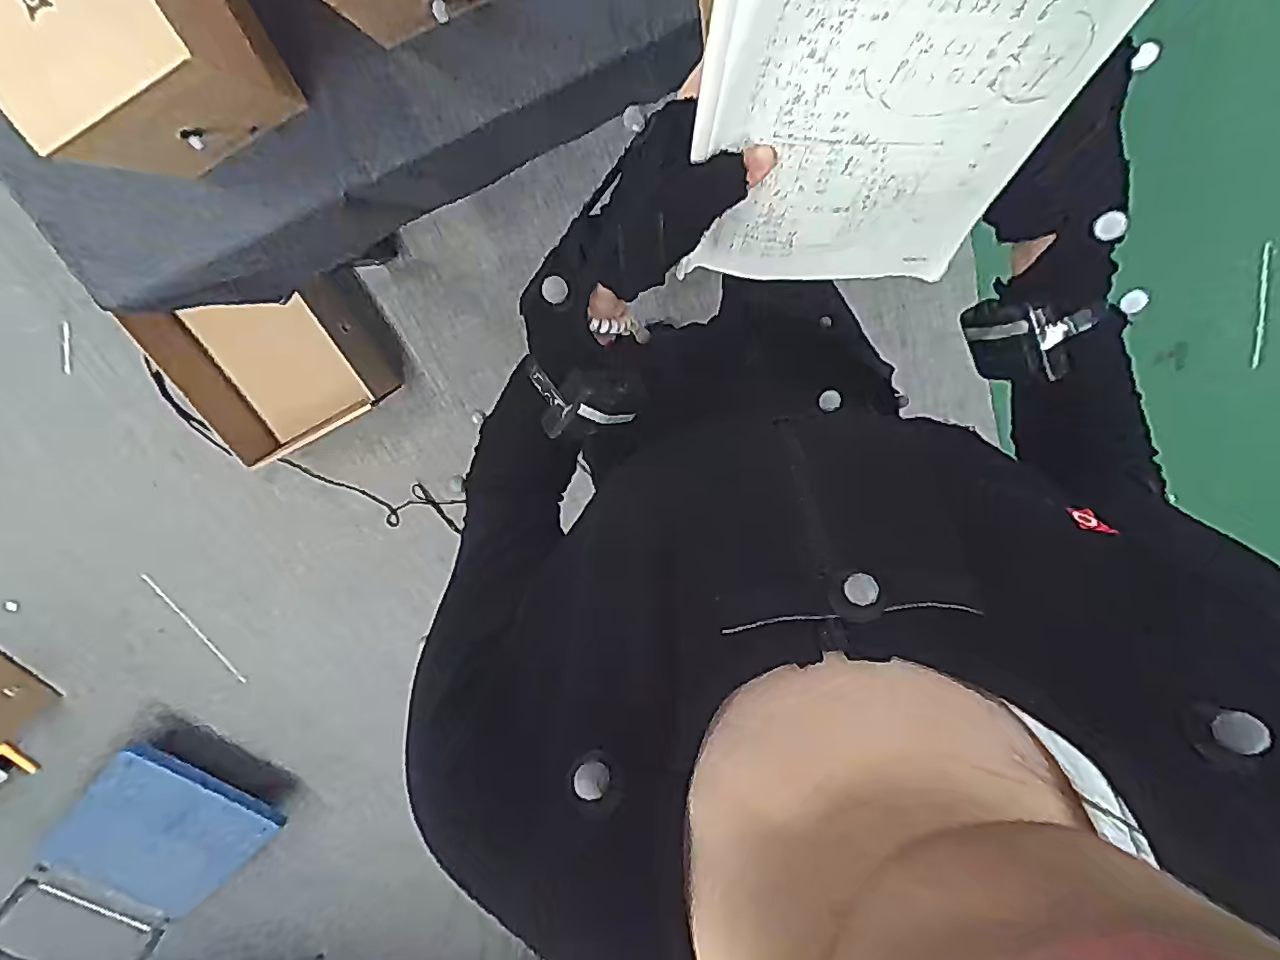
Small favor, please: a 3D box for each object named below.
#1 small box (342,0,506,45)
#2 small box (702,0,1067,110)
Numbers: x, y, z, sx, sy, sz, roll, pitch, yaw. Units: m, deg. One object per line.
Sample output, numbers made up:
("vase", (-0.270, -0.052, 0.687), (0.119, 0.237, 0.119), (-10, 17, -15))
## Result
("small box", (-0.208, -0.504, 0.433), (0.168, 0.176, 0.179), (-18, 113, 8))
("small box", (0.128, -0.341, 0.325), (0.179, 0.176, 0.168), (-9, 121, 8))
